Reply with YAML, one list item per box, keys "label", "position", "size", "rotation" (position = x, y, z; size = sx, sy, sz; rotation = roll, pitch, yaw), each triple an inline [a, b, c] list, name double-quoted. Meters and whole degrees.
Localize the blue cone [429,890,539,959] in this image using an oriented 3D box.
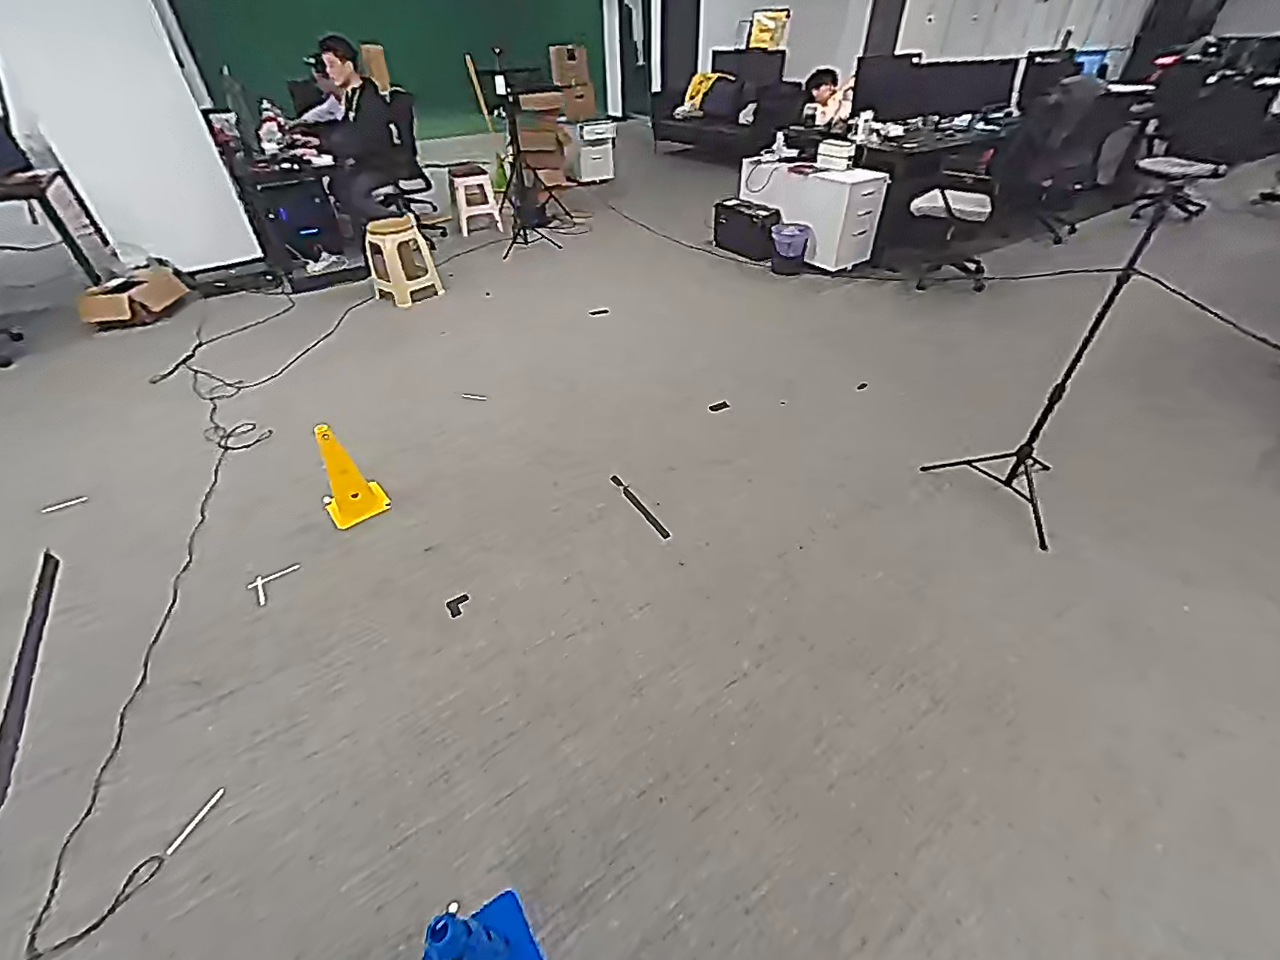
- label: "blue cone"
  position: [-0.297, 0.804, 0.933]
  size: [0.192, 0.380, 0.193]
  rotation: [-22, 44, -24]
